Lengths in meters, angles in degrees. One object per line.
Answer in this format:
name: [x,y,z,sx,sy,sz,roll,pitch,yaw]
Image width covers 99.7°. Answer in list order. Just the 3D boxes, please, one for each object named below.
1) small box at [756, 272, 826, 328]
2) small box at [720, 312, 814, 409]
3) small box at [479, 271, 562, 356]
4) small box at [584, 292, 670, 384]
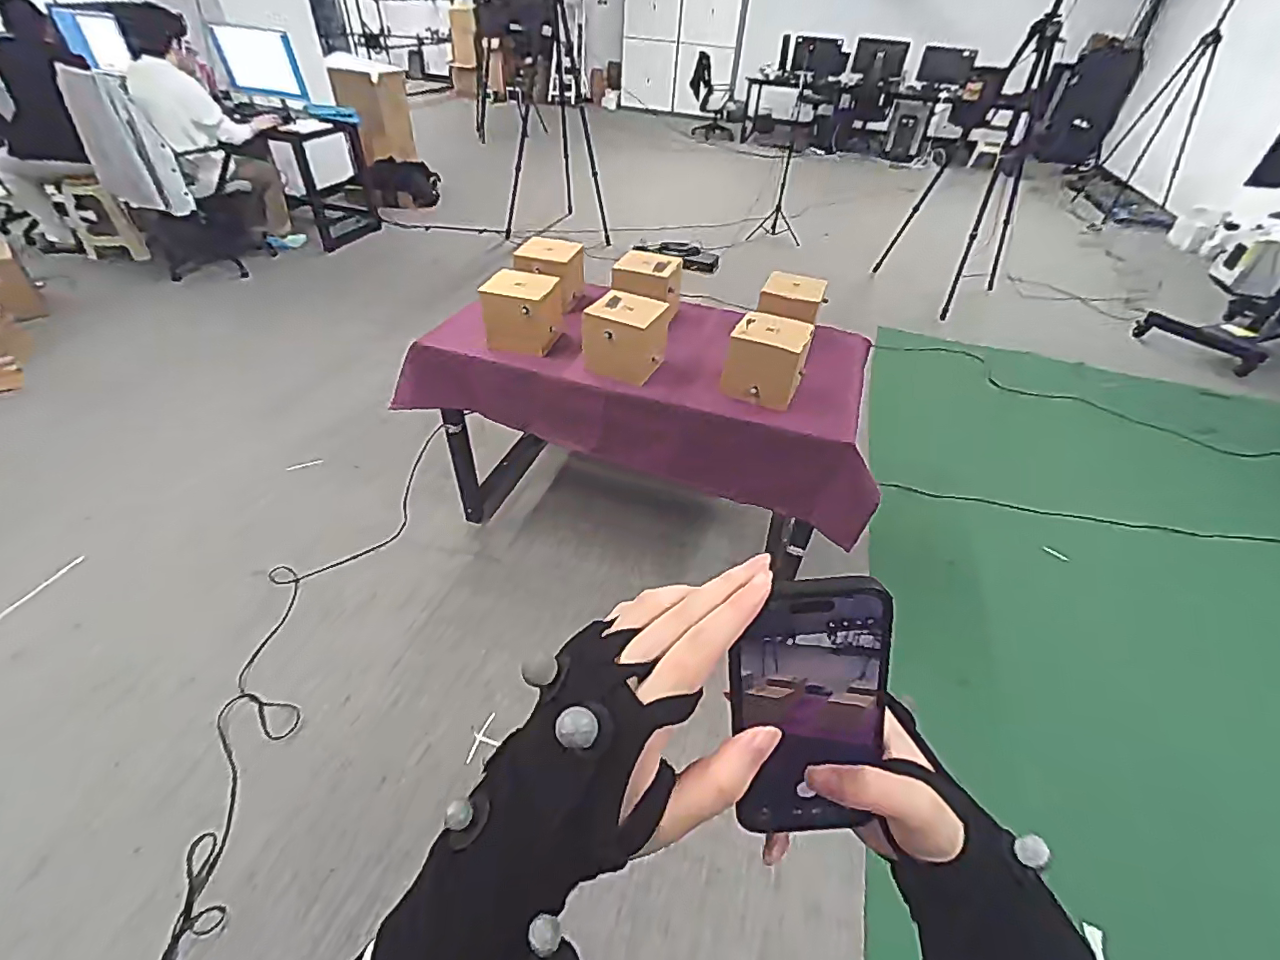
small box: [0.439,-0.494,1.610,0.168,0.176,0.179,17,44,15]
small box: [0.323,-0.304,1.389,0.179,0.176,0.168,20,44,17]
small box: [-0.329,-0.464,1.515,0.179,0.176,0.168,12,42,7]
small box: [-0.037,-0.377,1.440,0.179,0.176,0.168,20,44,16]
